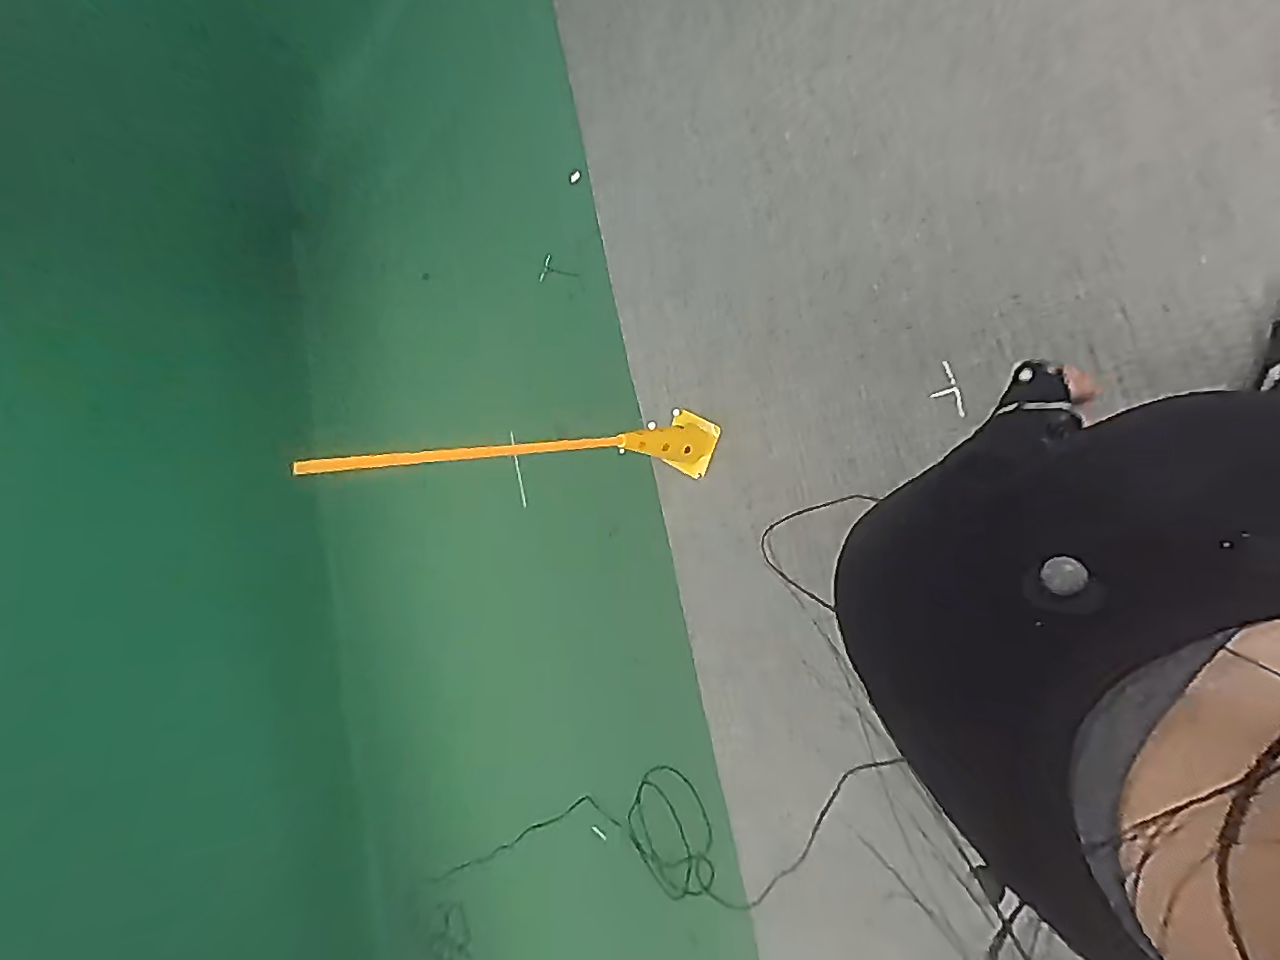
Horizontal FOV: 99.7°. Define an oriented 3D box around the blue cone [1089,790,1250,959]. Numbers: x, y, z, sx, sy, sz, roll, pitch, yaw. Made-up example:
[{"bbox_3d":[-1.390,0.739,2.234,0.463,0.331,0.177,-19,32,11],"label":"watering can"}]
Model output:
[{"bbox_3d":[0.978,0.760,0.979,0.193,0.380,0.192,40,115,29],"label":"blue cone"}]
